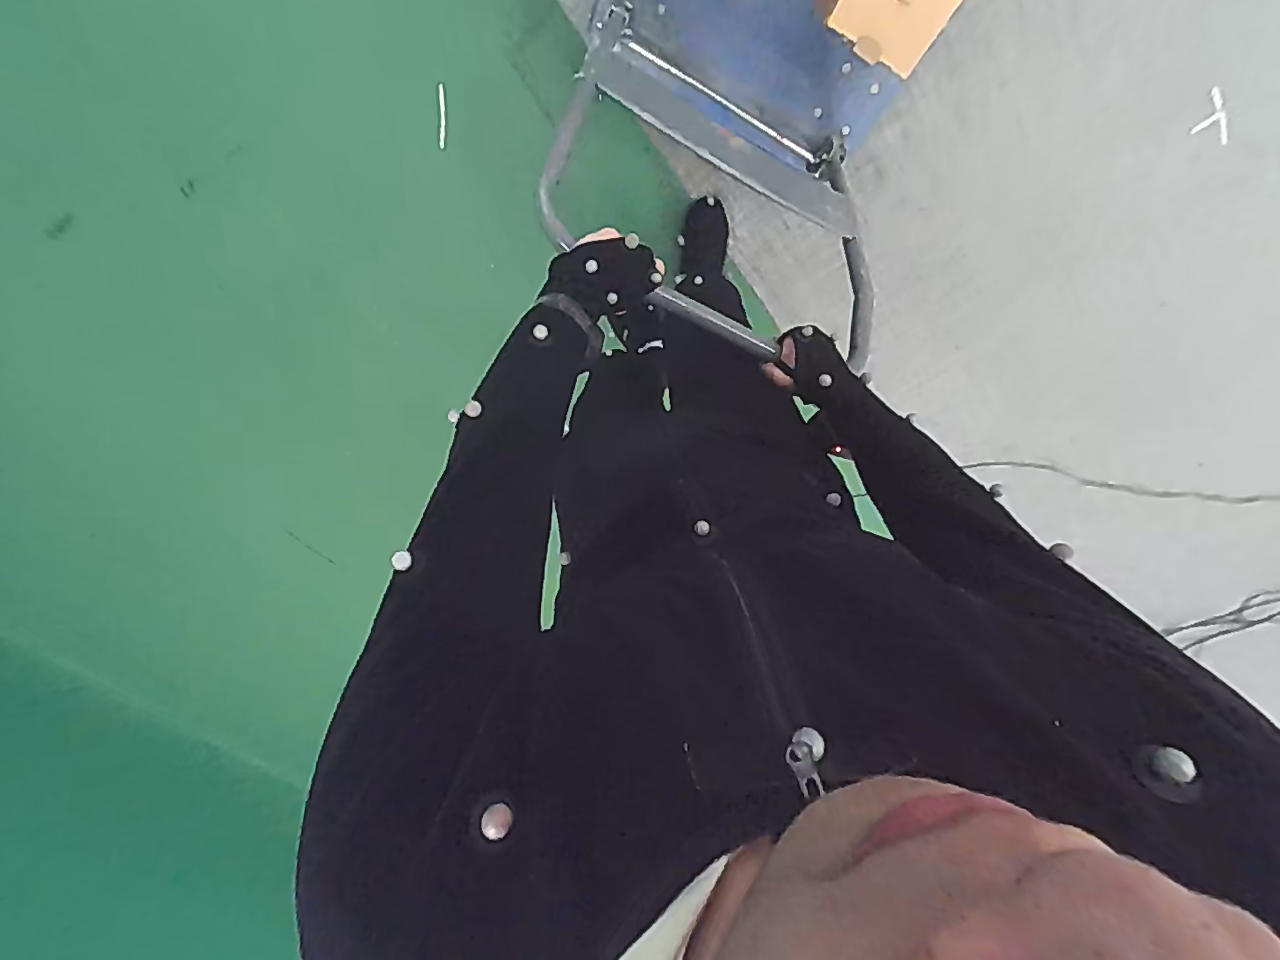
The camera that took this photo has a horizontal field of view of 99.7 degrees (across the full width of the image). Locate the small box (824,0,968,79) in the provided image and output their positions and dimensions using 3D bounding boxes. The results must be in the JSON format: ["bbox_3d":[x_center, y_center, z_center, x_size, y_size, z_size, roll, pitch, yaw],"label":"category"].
[{"bbox_3d":[0.412,-0.793,0.852,0.168,0.176,0.179,21,140,-16],"label":"small box"}]
